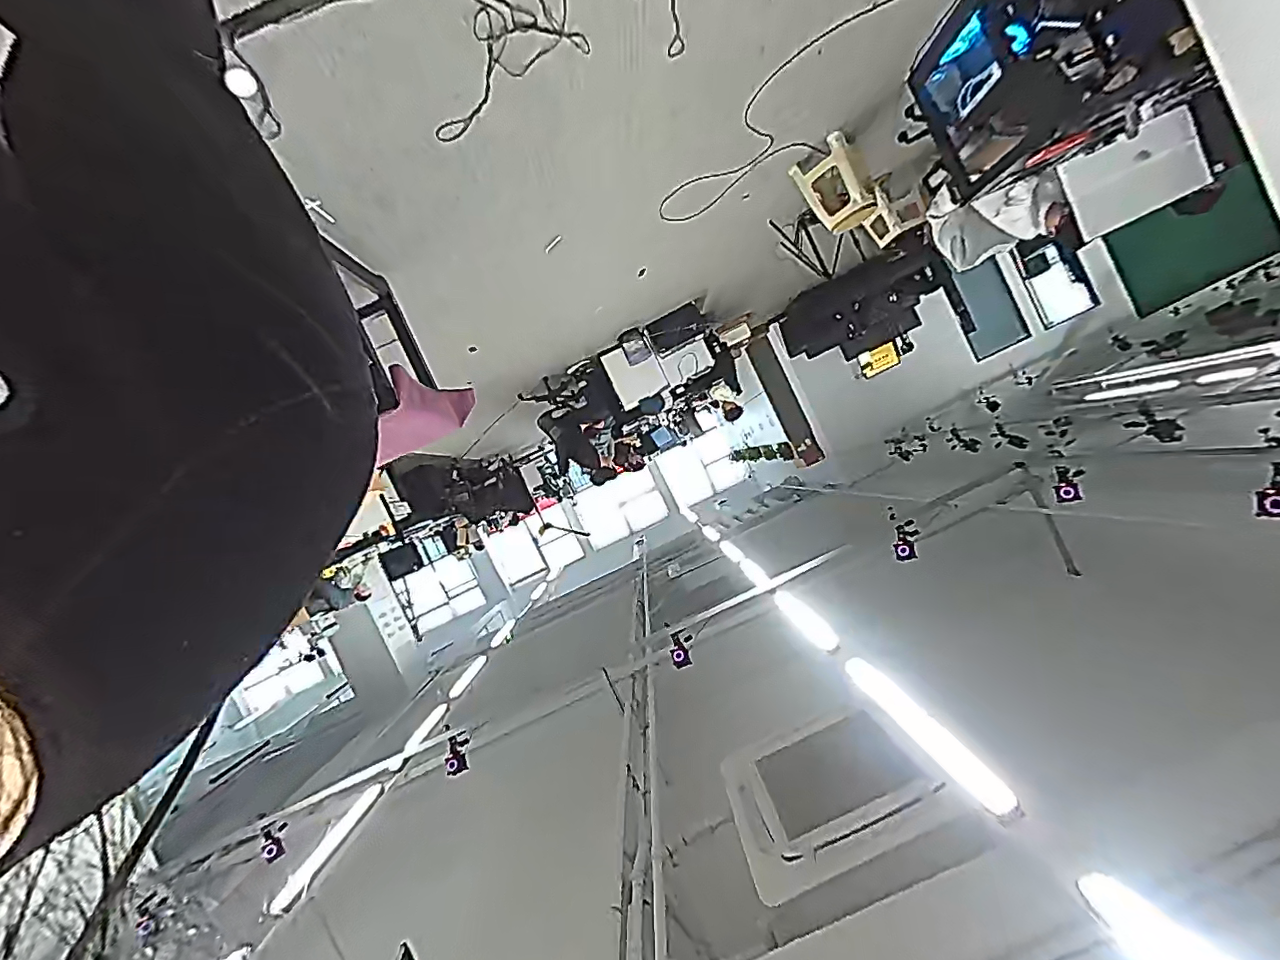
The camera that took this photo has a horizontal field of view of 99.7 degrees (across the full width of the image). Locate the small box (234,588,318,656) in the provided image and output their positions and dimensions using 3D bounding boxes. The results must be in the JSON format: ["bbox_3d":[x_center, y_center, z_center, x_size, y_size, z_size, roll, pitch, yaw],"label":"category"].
[{"bbox_3d":[-1.364,0.526,2.026,0.168,0.176,0.179,-27,-179,-5],"label":"small box"}]

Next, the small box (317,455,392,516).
[{"bbox_3d":[-1.080,0.022,2.034,0.179,0.176,0.168,-27,-179,-3],"label":"small box"}]
